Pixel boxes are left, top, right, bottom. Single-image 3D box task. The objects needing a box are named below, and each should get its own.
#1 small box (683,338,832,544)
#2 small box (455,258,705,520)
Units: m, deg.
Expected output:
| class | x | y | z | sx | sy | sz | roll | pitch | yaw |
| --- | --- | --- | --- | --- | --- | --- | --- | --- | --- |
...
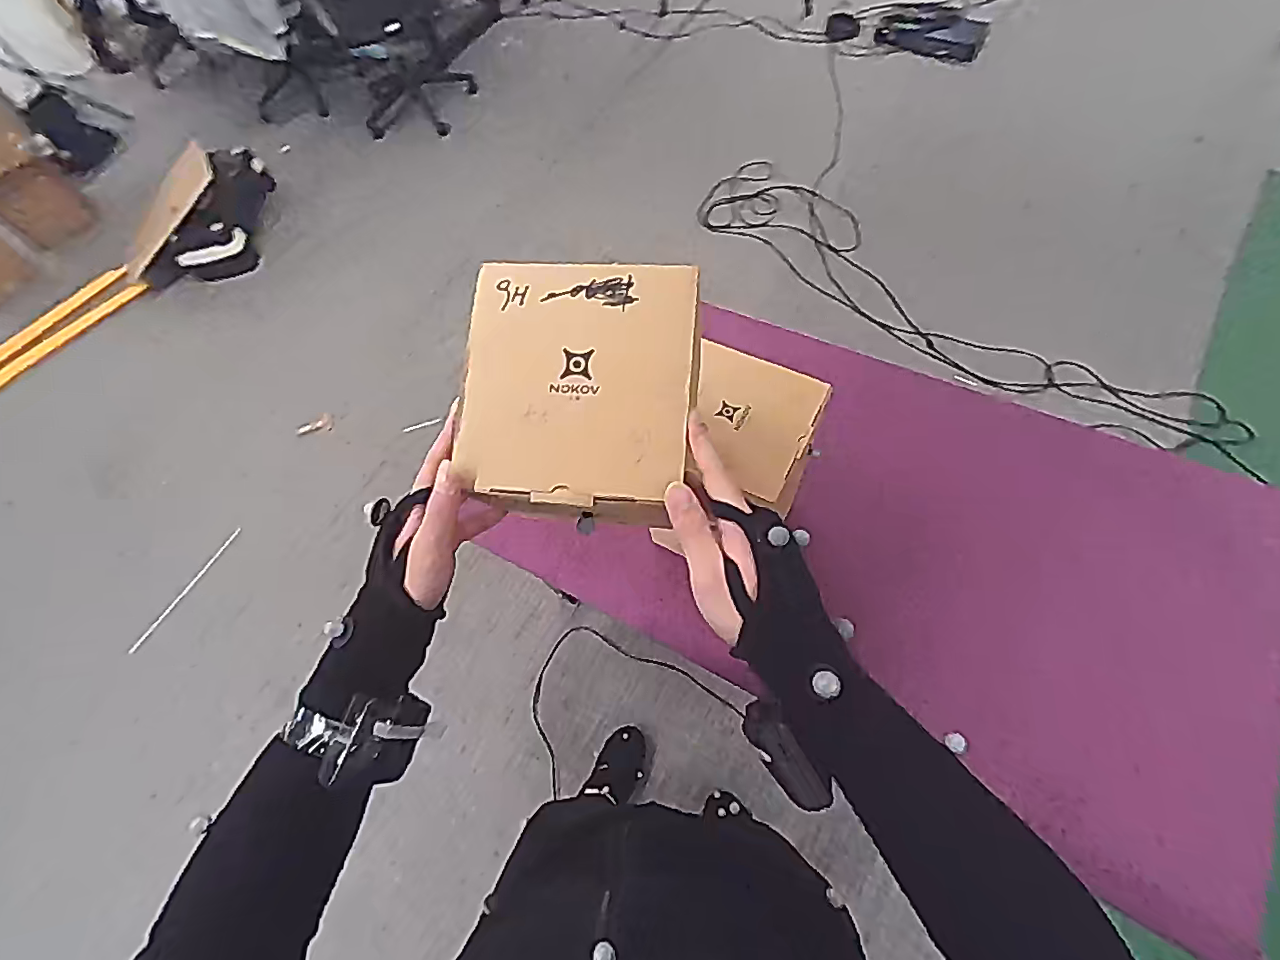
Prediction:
| class | x | y | z | sx | sy | sz | roll | pitch | yaw |
| --- | --- | --- | --- | --- | --- | --- | --- | --- | --- |
| small box | 0.111 | -0.038 | 0.674 | 0.179 | 0.176 | 0.168 | 25 | 69 | 19 |
| small box | -0.033 | -0.063 | 0.463 | 0.168 | 0.176 | 0.179 | 5 | 81 | 8 |
